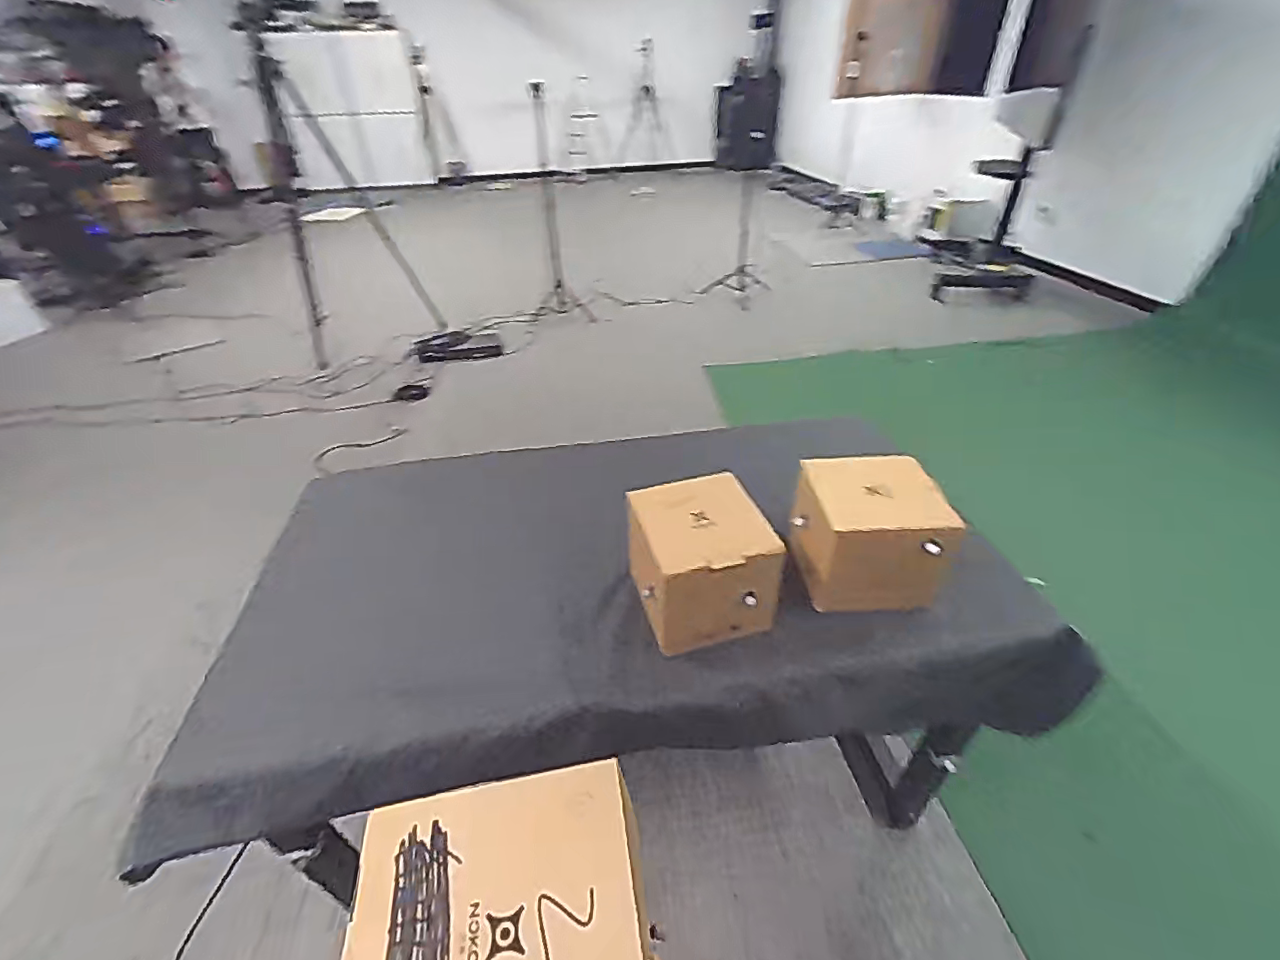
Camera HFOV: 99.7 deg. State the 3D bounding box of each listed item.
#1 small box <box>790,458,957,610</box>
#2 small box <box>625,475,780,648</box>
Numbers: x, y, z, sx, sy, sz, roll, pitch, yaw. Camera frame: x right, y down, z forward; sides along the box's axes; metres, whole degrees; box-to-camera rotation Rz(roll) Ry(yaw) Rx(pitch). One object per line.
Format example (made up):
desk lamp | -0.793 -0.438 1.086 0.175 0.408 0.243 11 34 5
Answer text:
small box | 0.336 0.083 0.825 0.179 0.176 0.168 -2 37 -1
small box | 0.082 0.121 0.786 0.168 0.176 0.179 -11 37 -13
